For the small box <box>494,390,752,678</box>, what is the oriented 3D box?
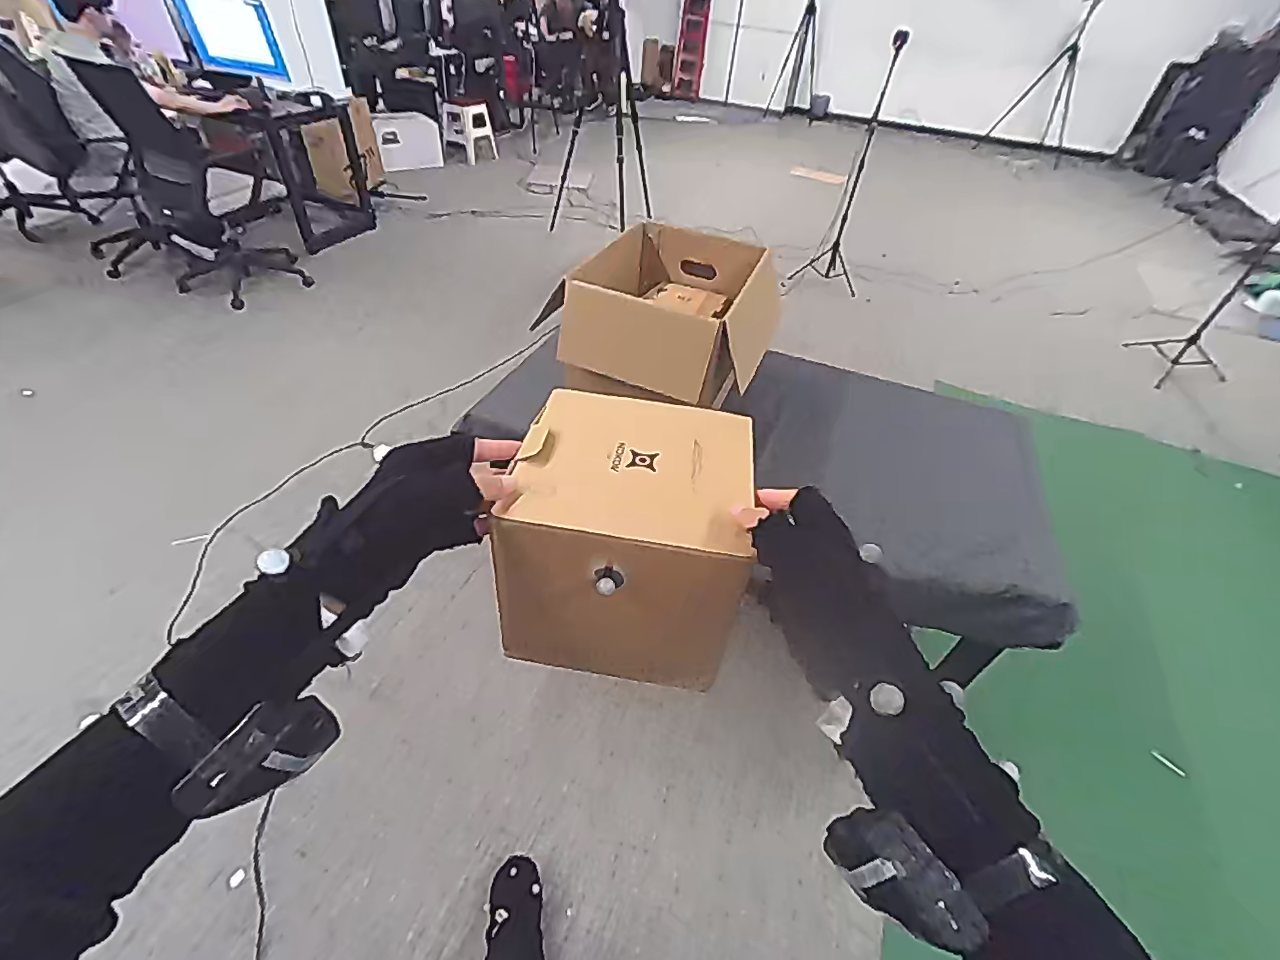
[{"bbox_3d":[-0.009,0.046,0.465,0.179,0.176,0.168,10,40,2],"label":"small box"}]
